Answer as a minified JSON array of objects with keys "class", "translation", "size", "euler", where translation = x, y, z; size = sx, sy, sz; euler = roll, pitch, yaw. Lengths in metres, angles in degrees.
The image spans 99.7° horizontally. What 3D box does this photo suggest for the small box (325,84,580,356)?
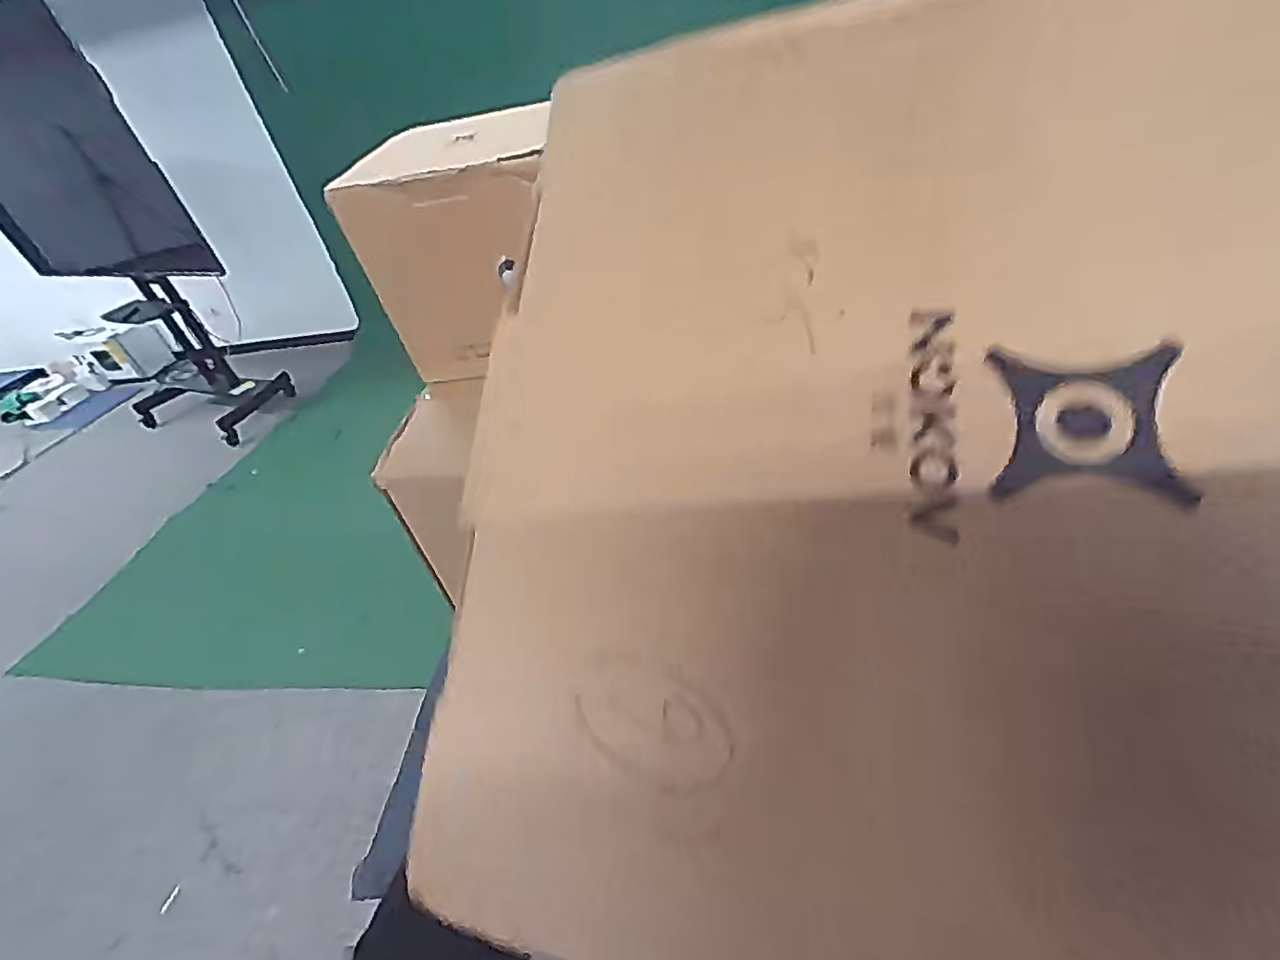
[{"class":"small box","translation":[-0.122,-0.220,0.475],"size":[0.168,0.176,0.179],"euler":[-3,43,7]}]
